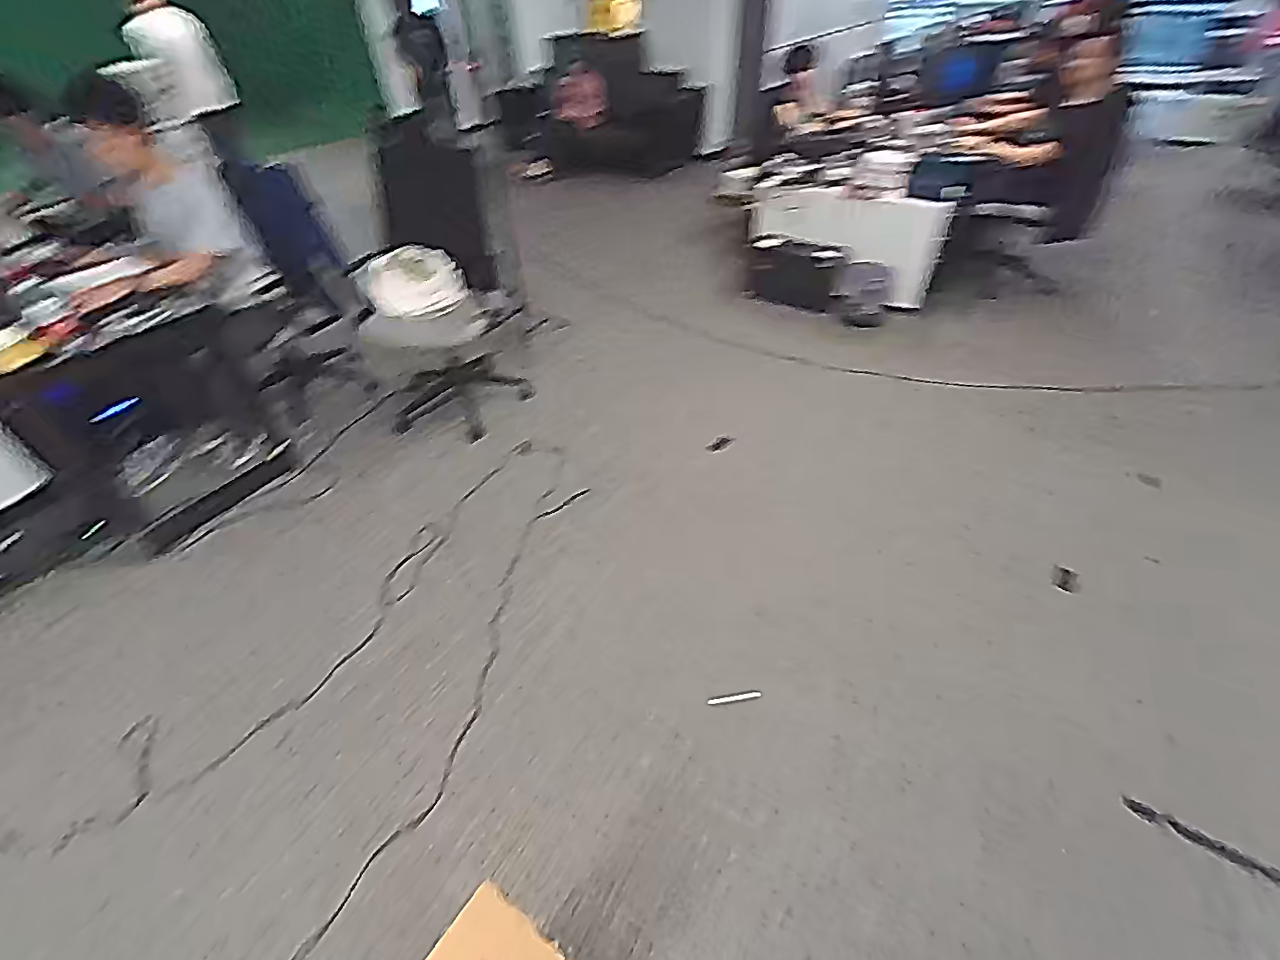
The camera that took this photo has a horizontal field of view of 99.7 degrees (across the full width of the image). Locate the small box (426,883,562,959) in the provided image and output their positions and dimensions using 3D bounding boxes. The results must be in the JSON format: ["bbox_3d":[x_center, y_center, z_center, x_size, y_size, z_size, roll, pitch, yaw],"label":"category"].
[{"bbox_3d":[-0.219,0.754,0.794,0.168,0.176,0.179,23,47,26],"label":"small box"}]
